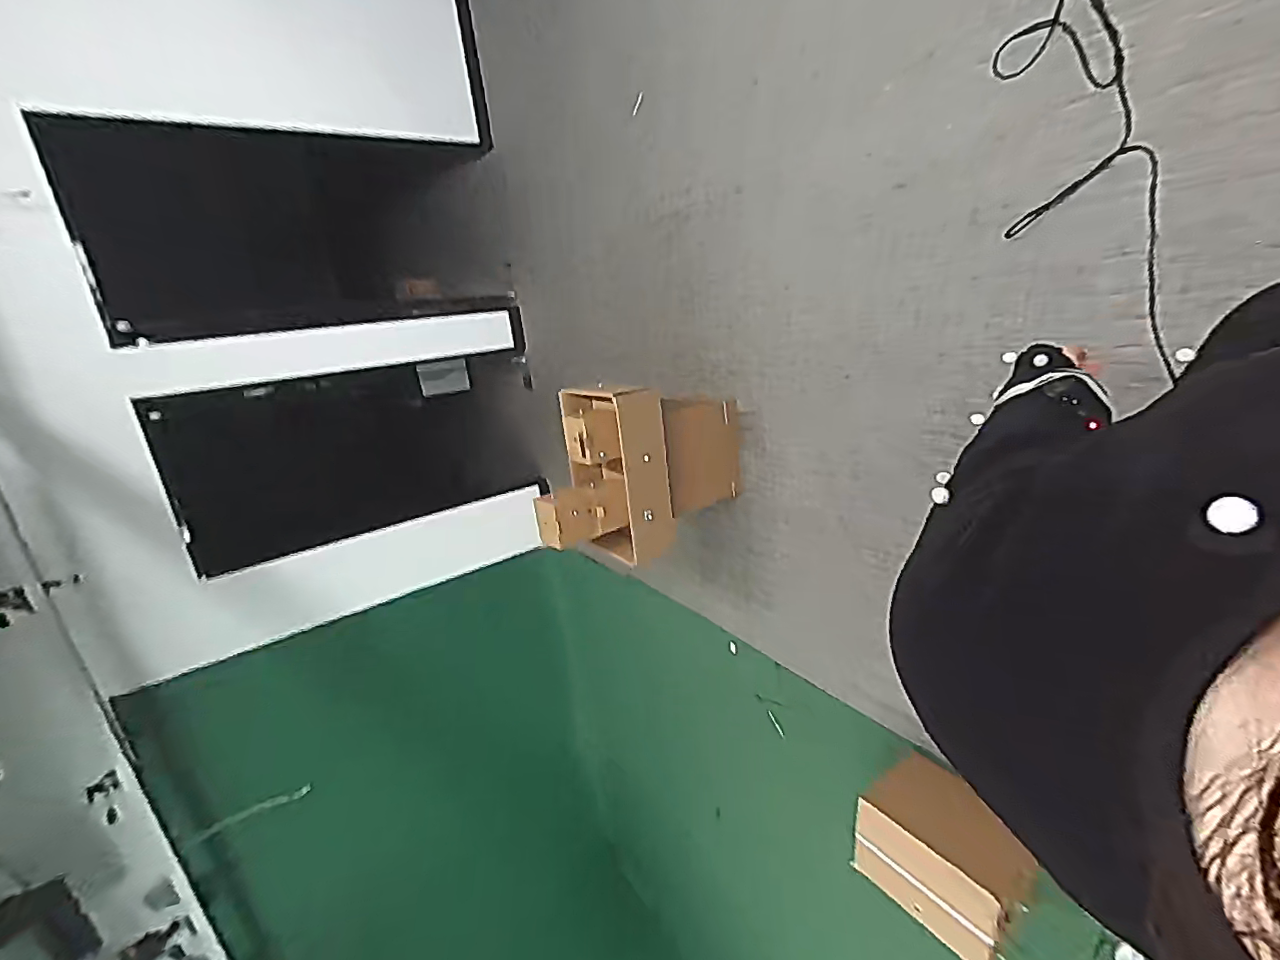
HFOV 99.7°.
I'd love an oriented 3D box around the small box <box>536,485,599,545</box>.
[{"bbox_3d":[-0.260,0.124,1.998,0.179,0.176,0.168,13,114,55],"label":"small box"}]
